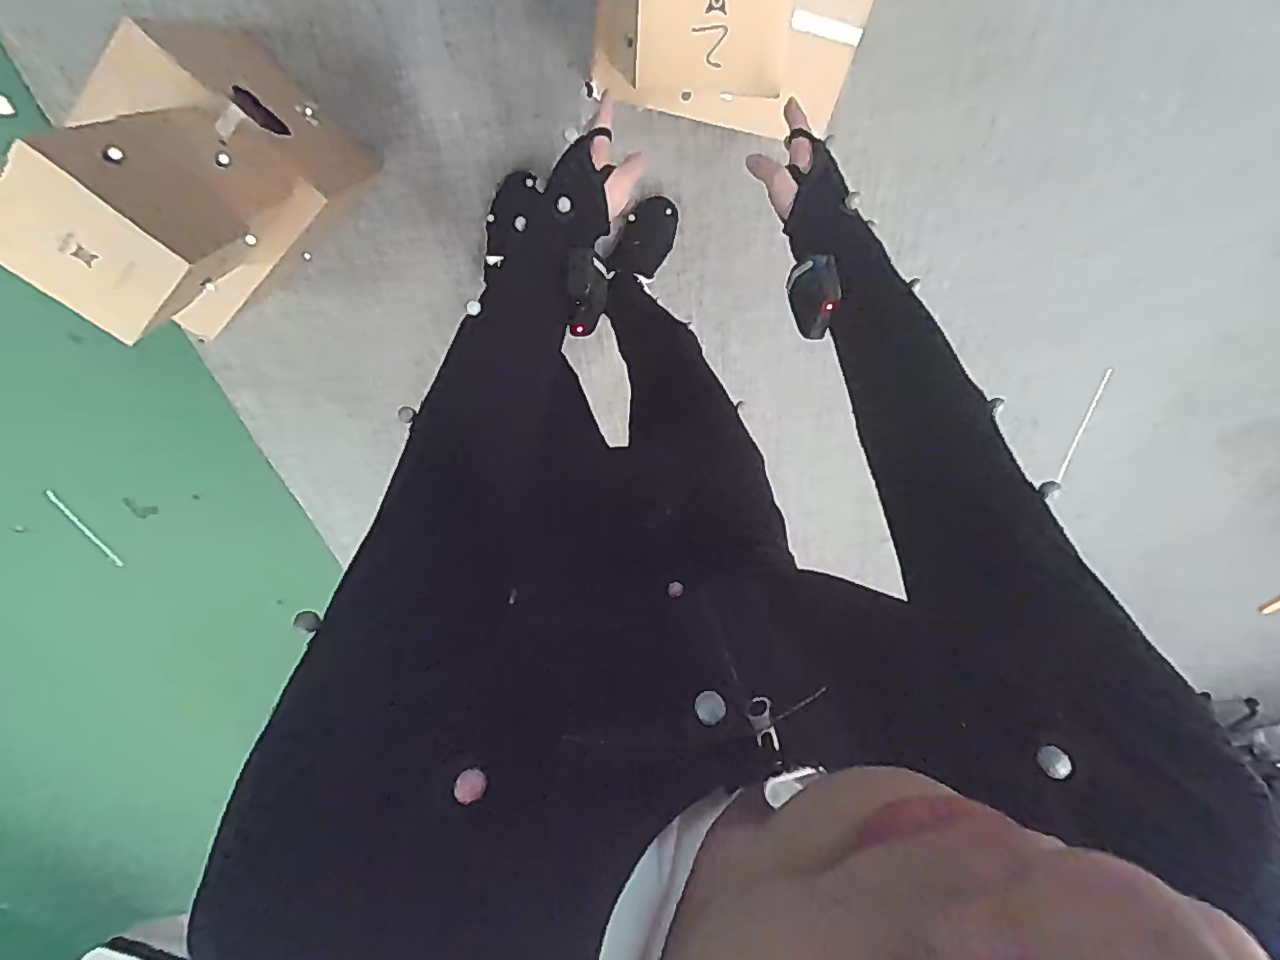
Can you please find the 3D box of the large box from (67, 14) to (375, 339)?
[{"bbox_3d":[-0.787,-0.558,1.020,0.408,0.320,0.320,-35,122,20],"label":"large box"}]

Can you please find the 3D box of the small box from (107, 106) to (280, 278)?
[{"bbox_3d":[-0.689,-0.428,0.818,0.179,0.176,0.168,-35,123,20],"label":"small box"}]

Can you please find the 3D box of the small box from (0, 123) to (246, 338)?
[{"bbox_3d":[-0.668,-0.324,0.694,0.168,0.176,0.179,-33,125,19],"label":"small box"}]

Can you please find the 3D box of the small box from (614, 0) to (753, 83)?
[{"bbox_3d":[0.054,-0.655,0.726,0.168,0.176,0.179,0,129,-7],"label":"small box"}]

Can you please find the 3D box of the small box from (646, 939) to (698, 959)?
[{"bbox_3d":[0.113,1.634,1.770,0.168,0.176,0.179,-6,127,-2],"label":"small box"}]

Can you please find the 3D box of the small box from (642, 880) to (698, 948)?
[{"bbox_3d":[0.104,1.530,1.898,0.168,0.176,0.179,-10,129,1],"label":"small box"}]
